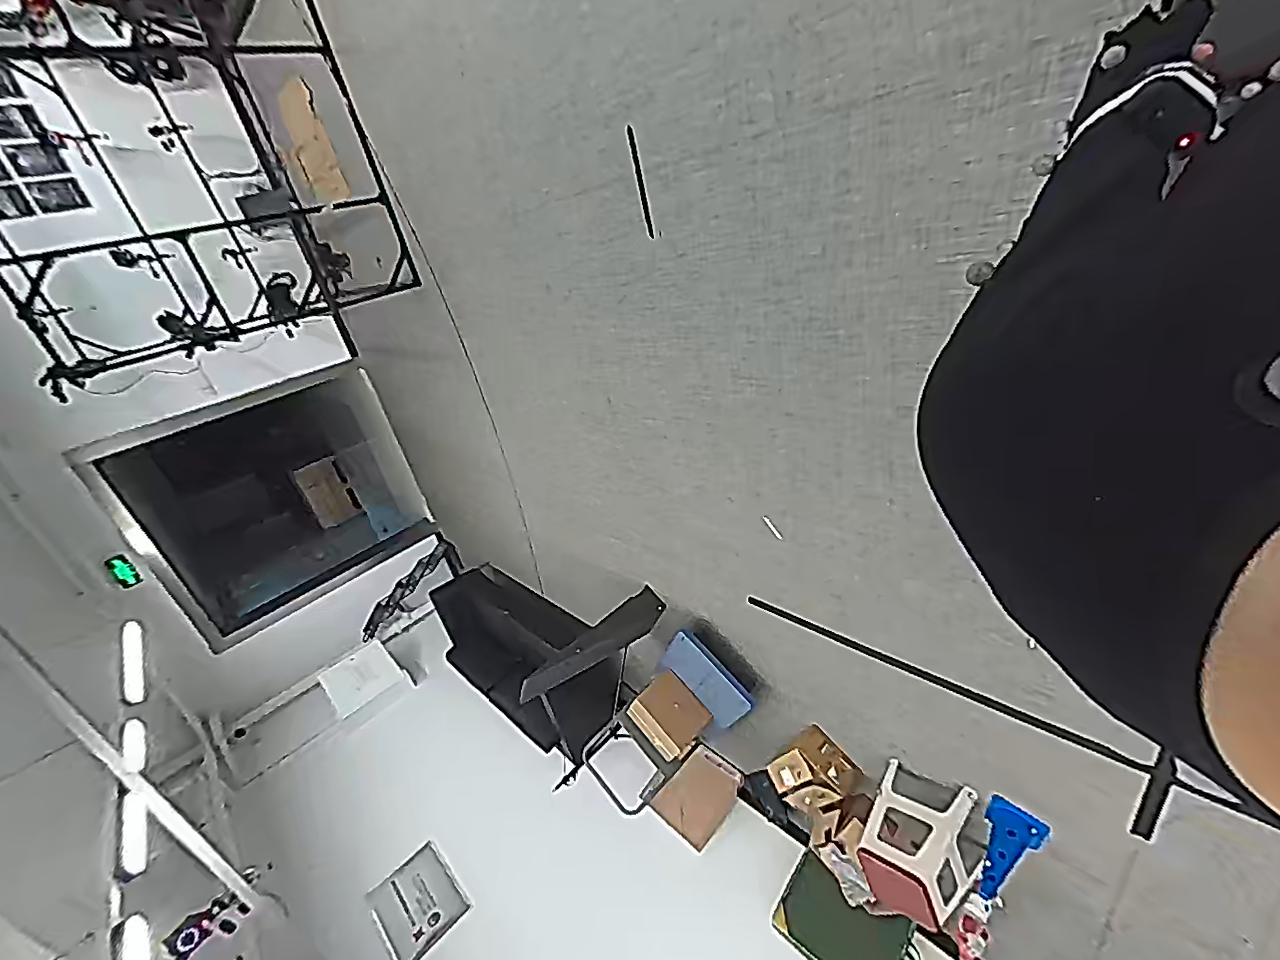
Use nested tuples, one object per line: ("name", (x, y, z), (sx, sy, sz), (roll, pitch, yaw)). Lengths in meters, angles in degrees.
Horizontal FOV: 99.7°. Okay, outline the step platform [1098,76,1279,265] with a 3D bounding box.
("step platform", (1.201, -0.544, 0.887), (0.684, 0.204, 0.286), (15, 129, 47))
